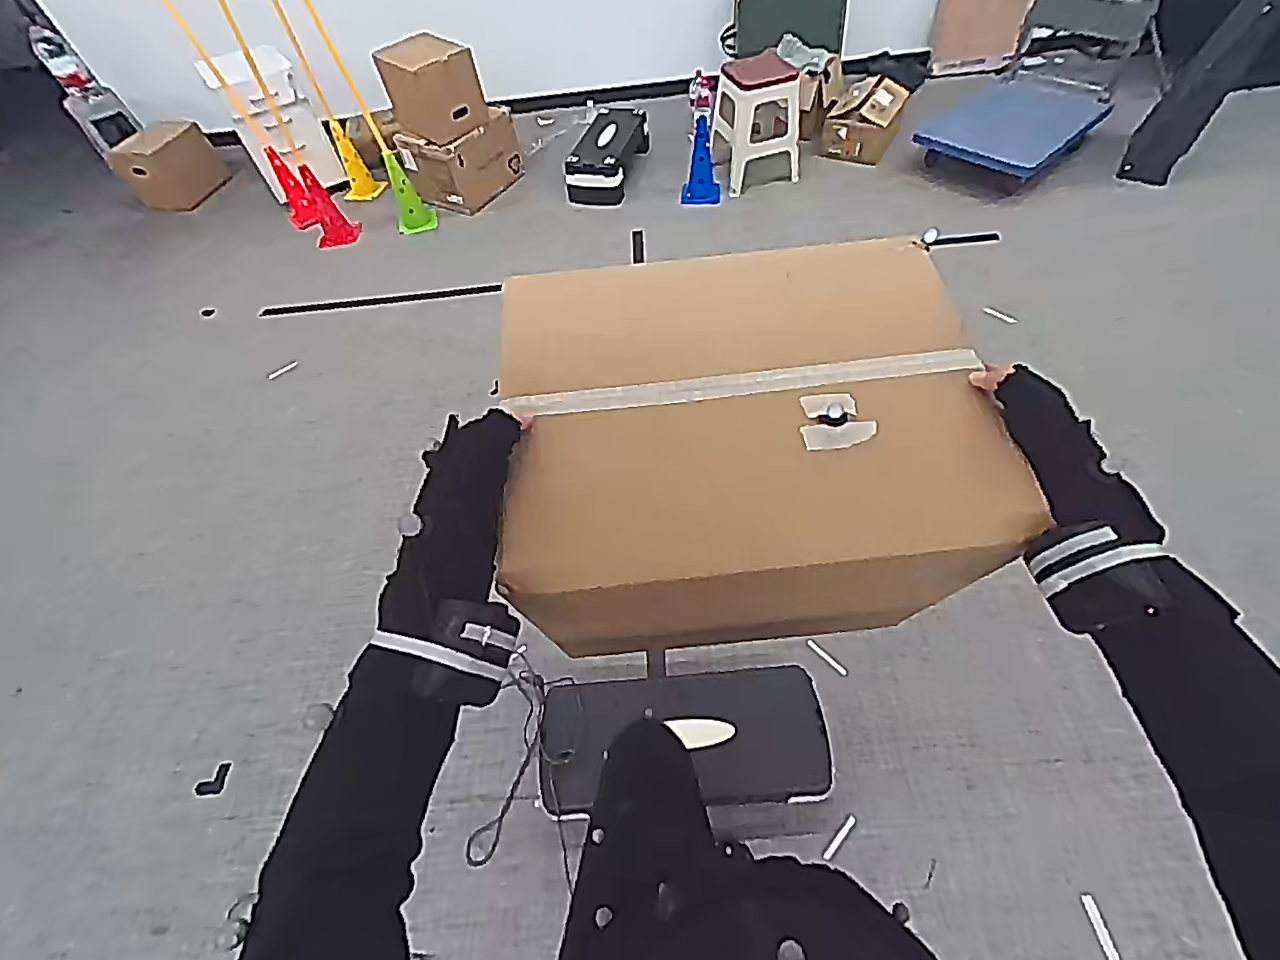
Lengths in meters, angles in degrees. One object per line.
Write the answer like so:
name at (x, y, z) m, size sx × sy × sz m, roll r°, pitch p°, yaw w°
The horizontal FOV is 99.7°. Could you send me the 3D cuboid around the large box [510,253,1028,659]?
large box at (0.088, -0.004, 0.605) m, size 0.408 × 0.320 × 0.320 m, roll -6°, pitch 63°, yaw 0°
